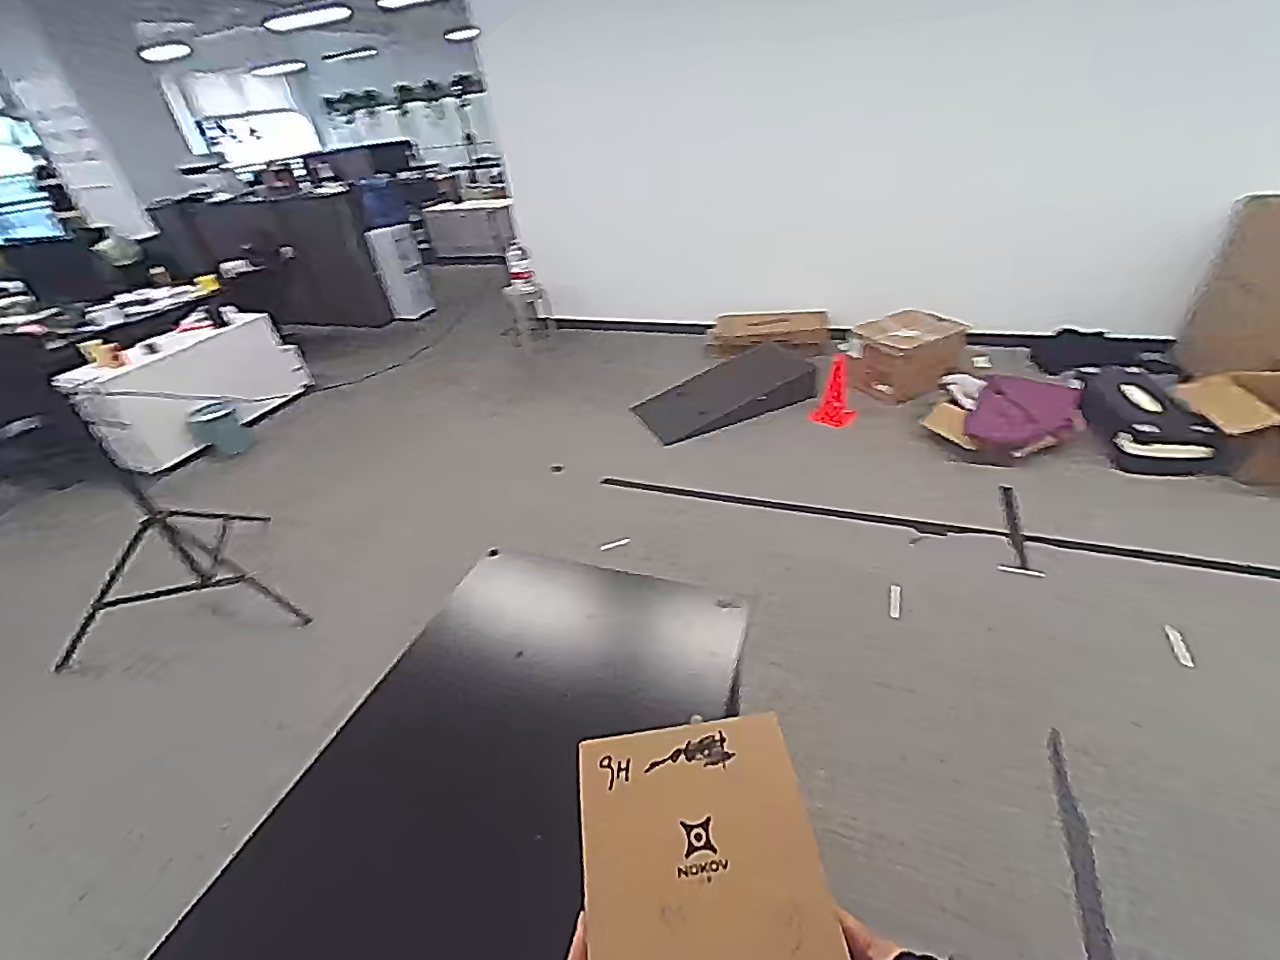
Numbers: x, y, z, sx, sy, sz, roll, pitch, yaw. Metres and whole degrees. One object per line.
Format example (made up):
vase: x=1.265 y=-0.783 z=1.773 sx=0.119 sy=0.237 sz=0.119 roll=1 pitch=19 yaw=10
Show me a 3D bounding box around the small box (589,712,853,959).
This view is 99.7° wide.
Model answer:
small box: x=0.054 y=0.318 z=0.443 sx=0.168 sy=0.176 sz=0.179 roll=-8 pitch=46 yaw=-1
